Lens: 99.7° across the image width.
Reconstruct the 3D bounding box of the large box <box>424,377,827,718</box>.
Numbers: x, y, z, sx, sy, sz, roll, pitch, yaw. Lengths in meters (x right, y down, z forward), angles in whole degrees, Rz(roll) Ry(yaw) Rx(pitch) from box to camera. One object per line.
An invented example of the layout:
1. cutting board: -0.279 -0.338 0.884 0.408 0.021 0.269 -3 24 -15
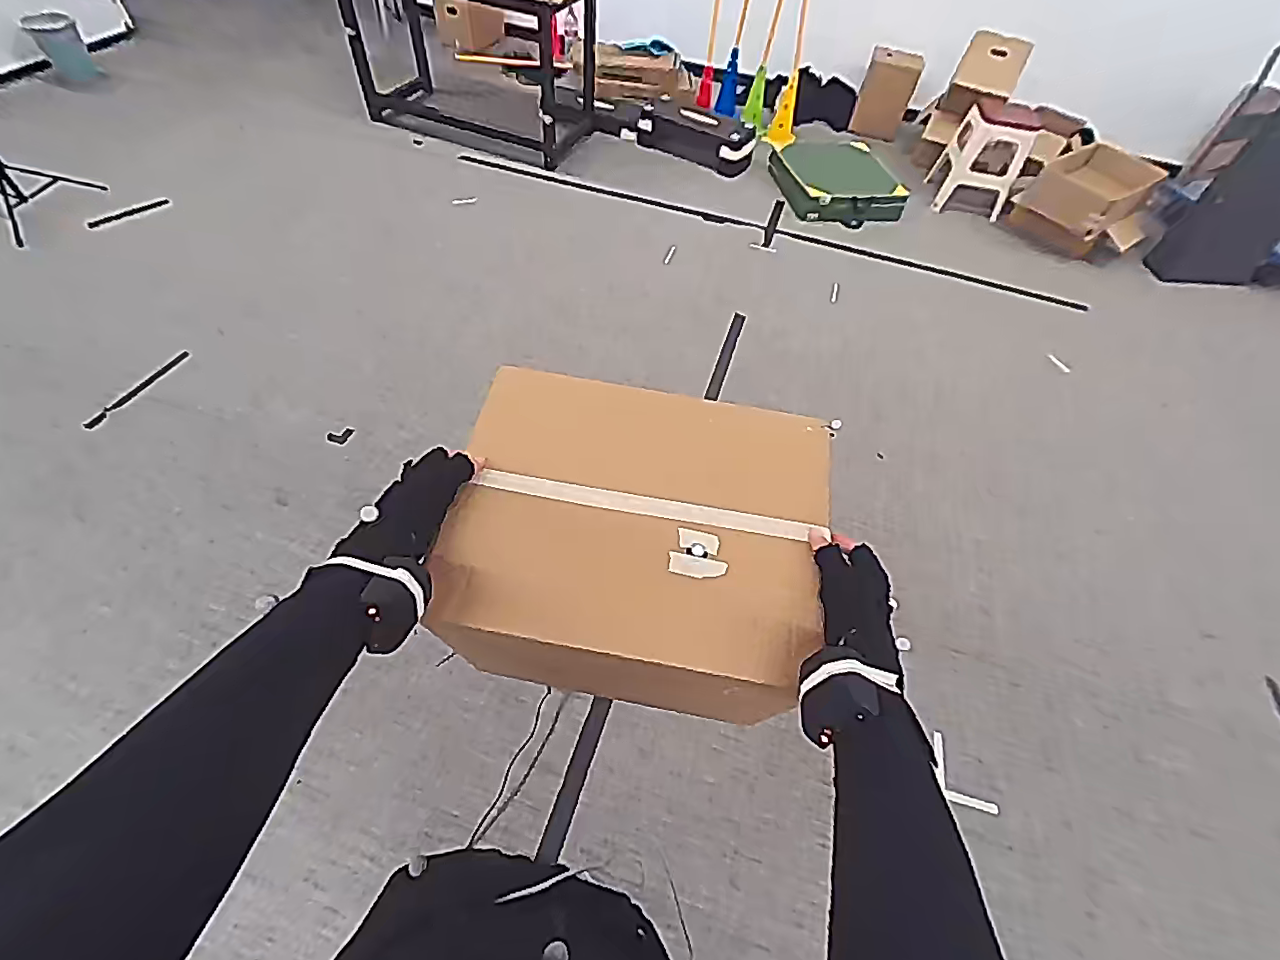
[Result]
1. large box: -0.003 0.105 0.722 0.408 0.320 0.320 11 62 3
